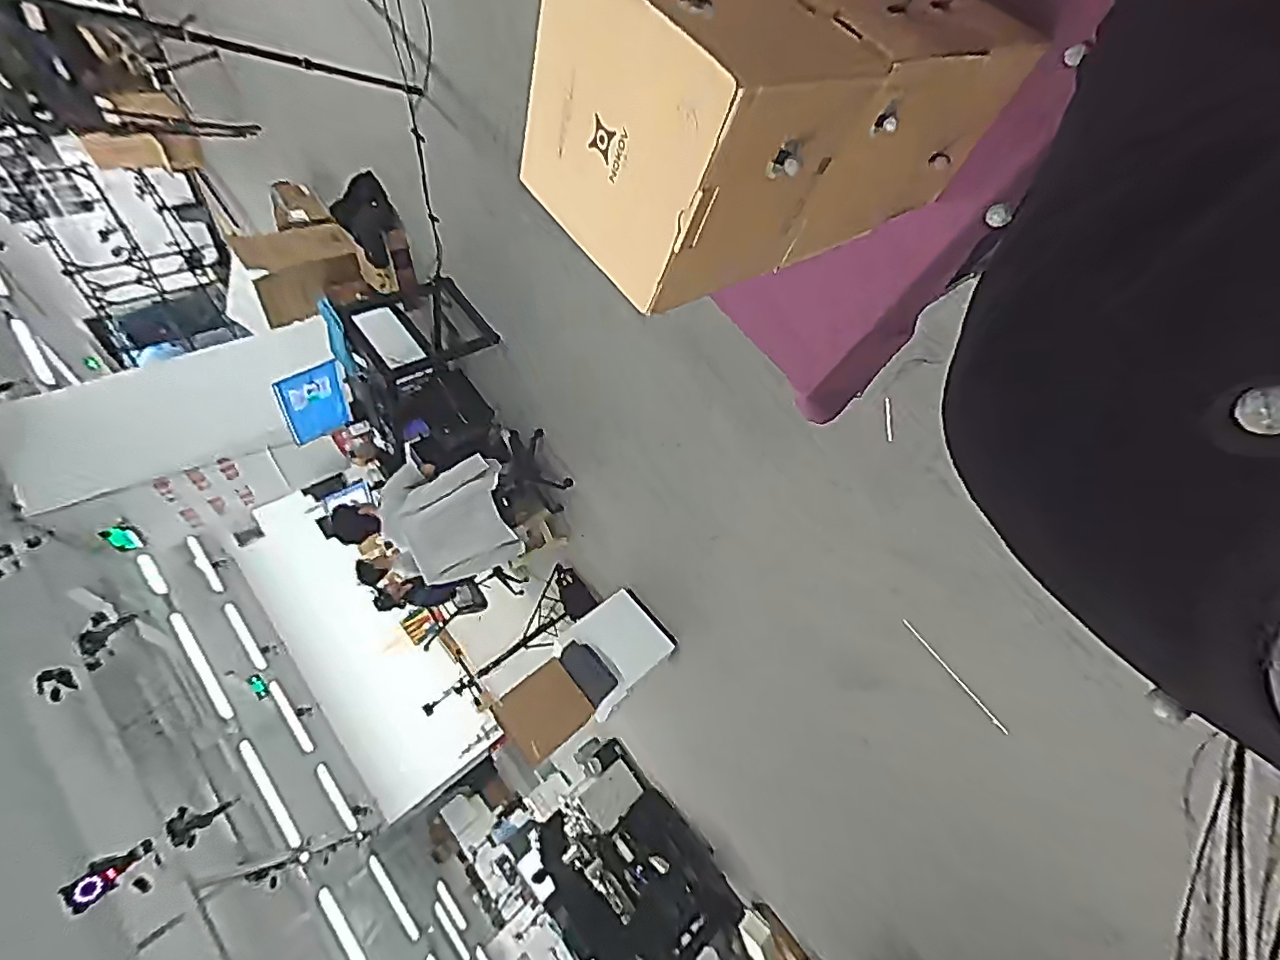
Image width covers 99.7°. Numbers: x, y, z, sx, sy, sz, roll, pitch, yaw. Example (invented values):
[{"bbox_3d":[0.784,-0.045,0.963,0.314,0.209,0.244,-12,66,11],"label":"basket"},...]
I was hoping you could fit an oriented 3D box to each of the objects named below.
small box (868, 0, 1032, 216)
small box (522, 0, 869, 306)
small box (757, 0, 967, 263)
[{"bbox_3d":[0.272,-0.418,0.590,0.168,0.176,0.179,49,148,15],"label":"small box"},{"bbox_3d":[0.035,-0.273,0.419,0.179,0.176,0.168,52,146,13],"label":"small box"},{"bbox_3d":[0.156,-0.341,0.505,0.168,0.176,0.179,50,147,15],"label":"small box"}]
